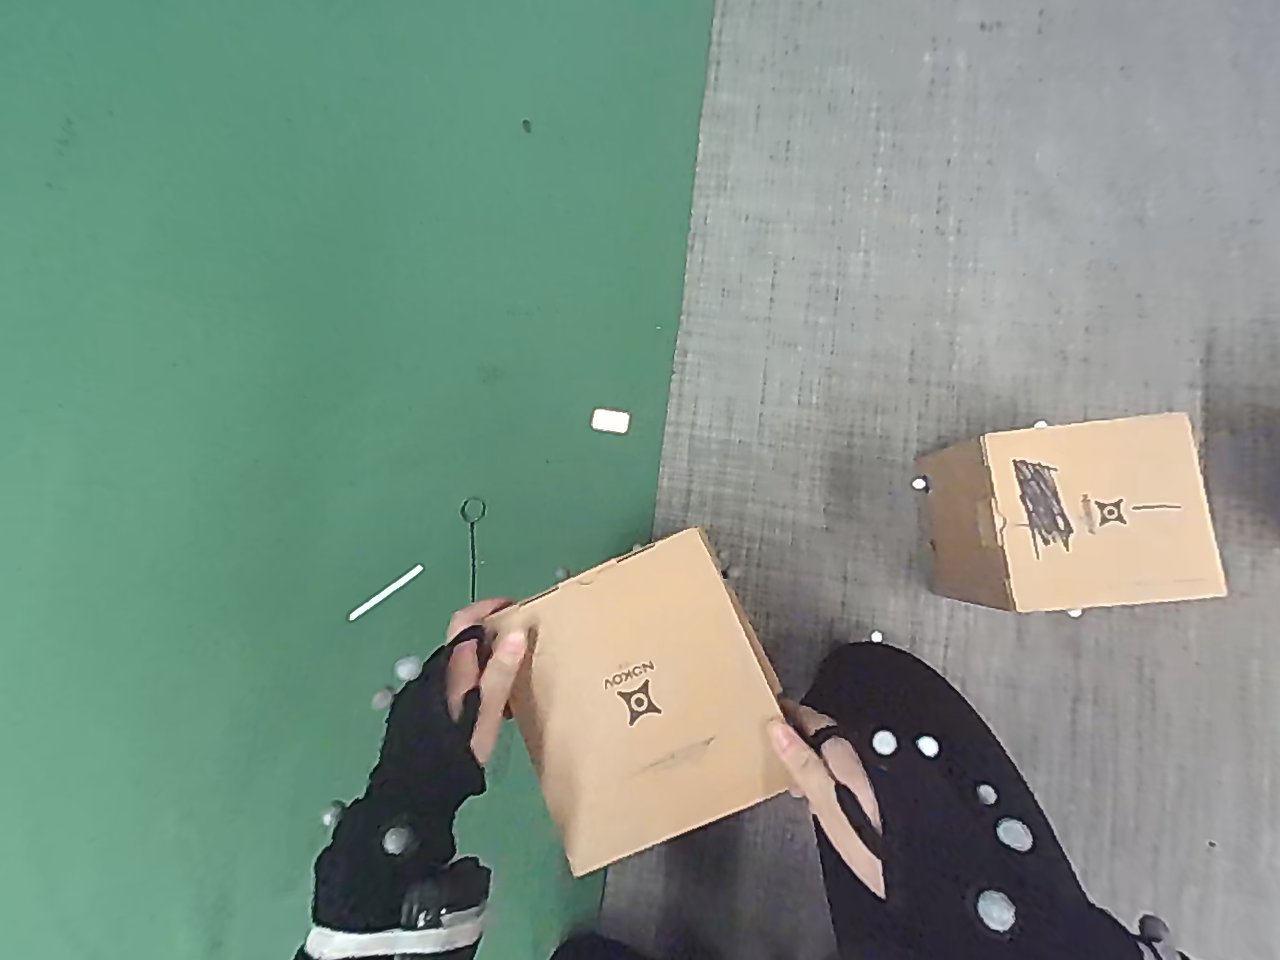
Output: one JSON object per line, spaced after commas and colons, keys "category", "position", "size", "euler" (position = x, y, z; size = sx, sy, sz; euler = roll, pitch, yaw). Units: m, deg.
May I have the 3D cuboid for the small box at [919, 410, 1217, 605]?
{"category": "small box", "position": [0.414, 0.035, 0.564], "size": [0.179, 0.176, 0.168], "euler": [-7, 83, 5]}

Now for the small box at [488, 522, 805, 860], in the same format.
{"category": "small box", "position": [0.008, 0.148, 0.438], "size": [0.168, 0.176, 0.179], "euler": [-24, 81, 4]}
